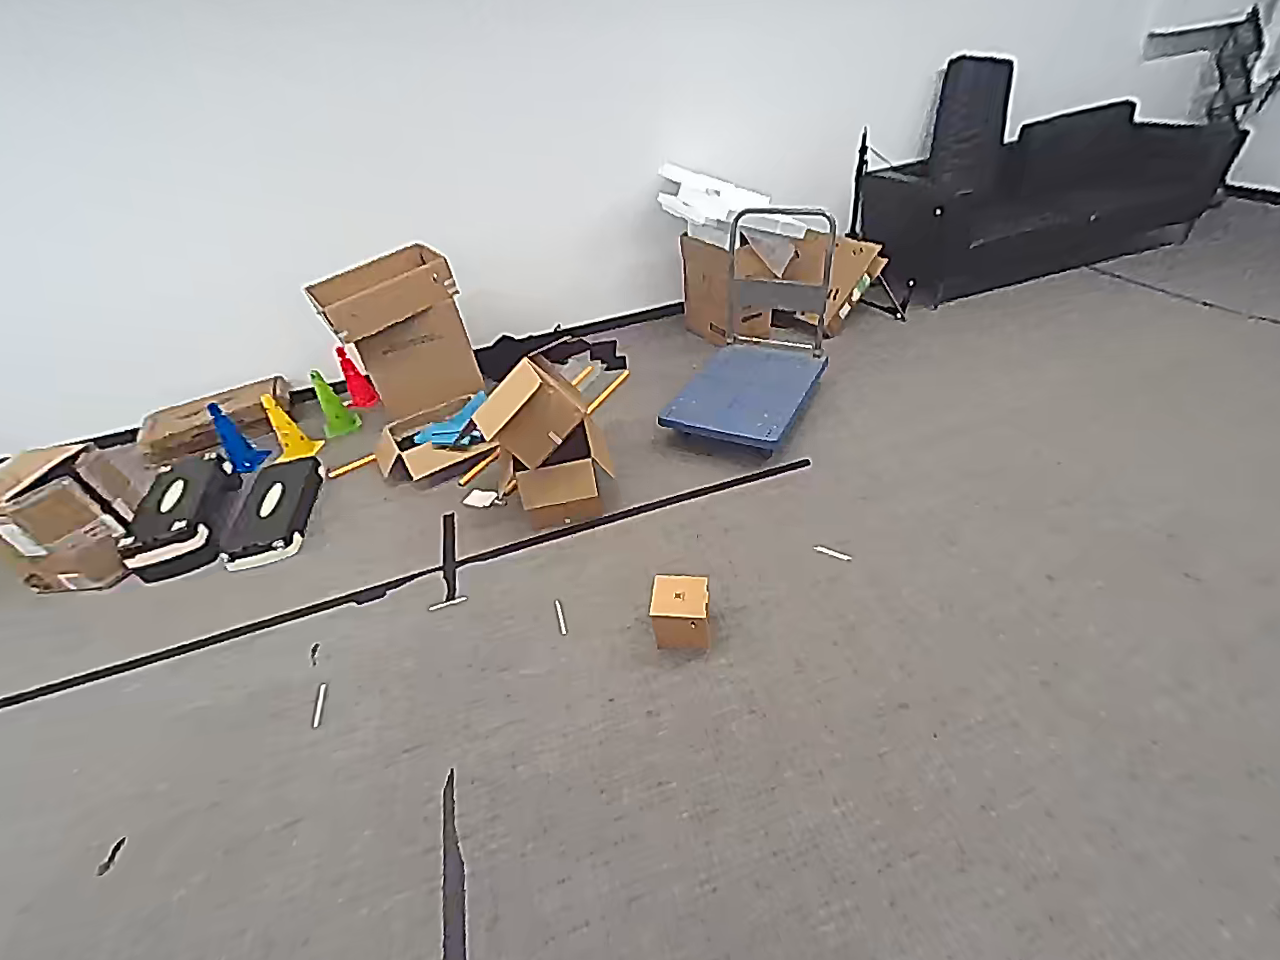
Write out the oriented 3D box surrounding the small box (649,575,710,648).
[{"bbox_3d":[0.133,0.430,1.760,0.179,0.176,0.168,0,38,10],"label":"small box"}]
